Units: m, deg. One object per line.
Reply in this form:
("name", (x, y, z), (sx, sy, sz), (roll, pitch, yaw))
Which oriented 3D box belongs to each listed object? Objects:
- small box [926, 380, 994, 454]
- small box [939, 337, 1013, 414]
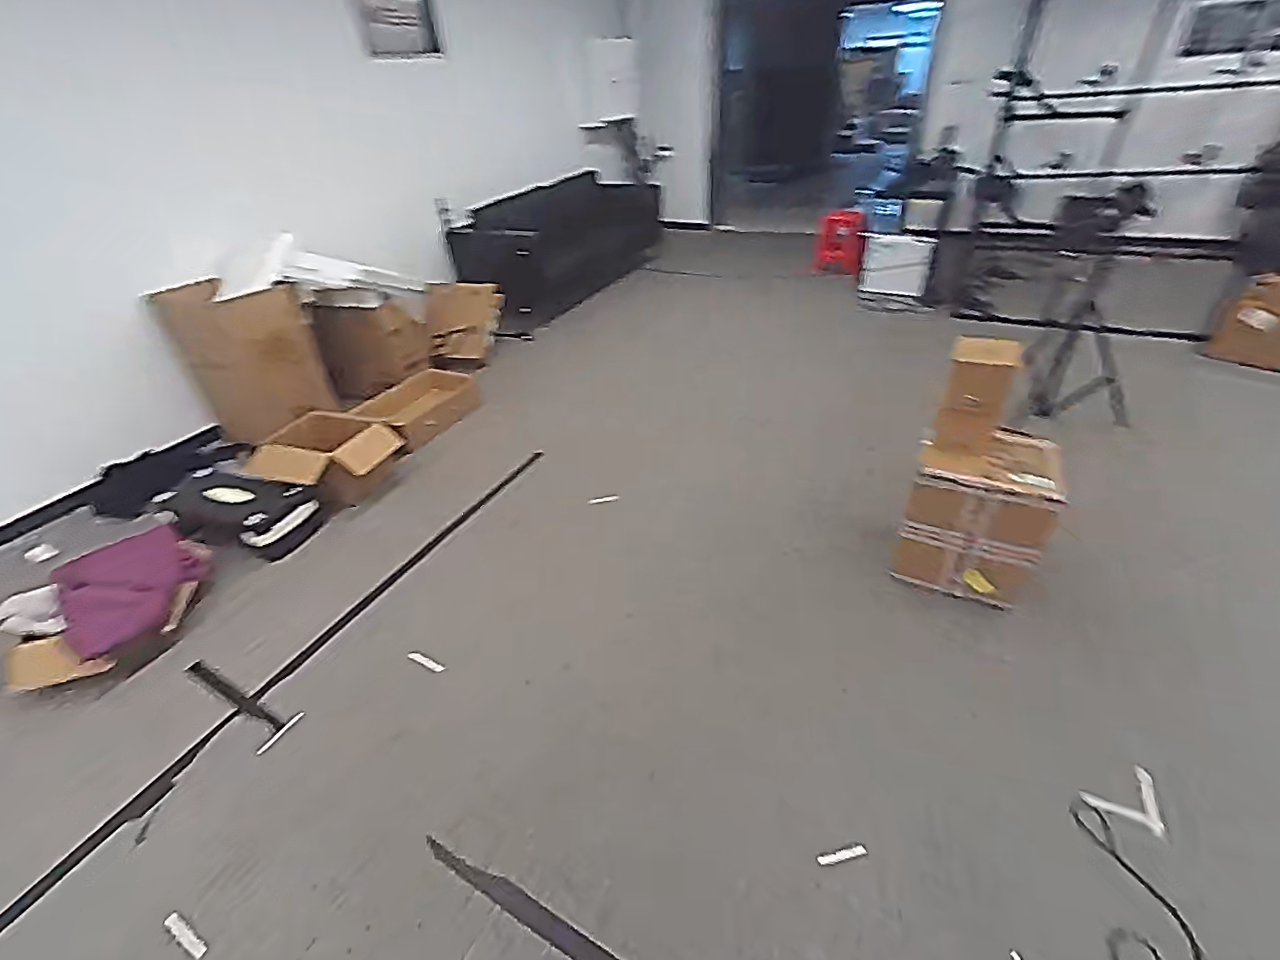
("small box", (1.062, -0.212, 1.796), (0.168, 0.176, 0.179), (12, 42, 25))
("small box", (1.040, -0.327, 1.681), (0.168, 0.176, 0.179), (11, 42, 25))
